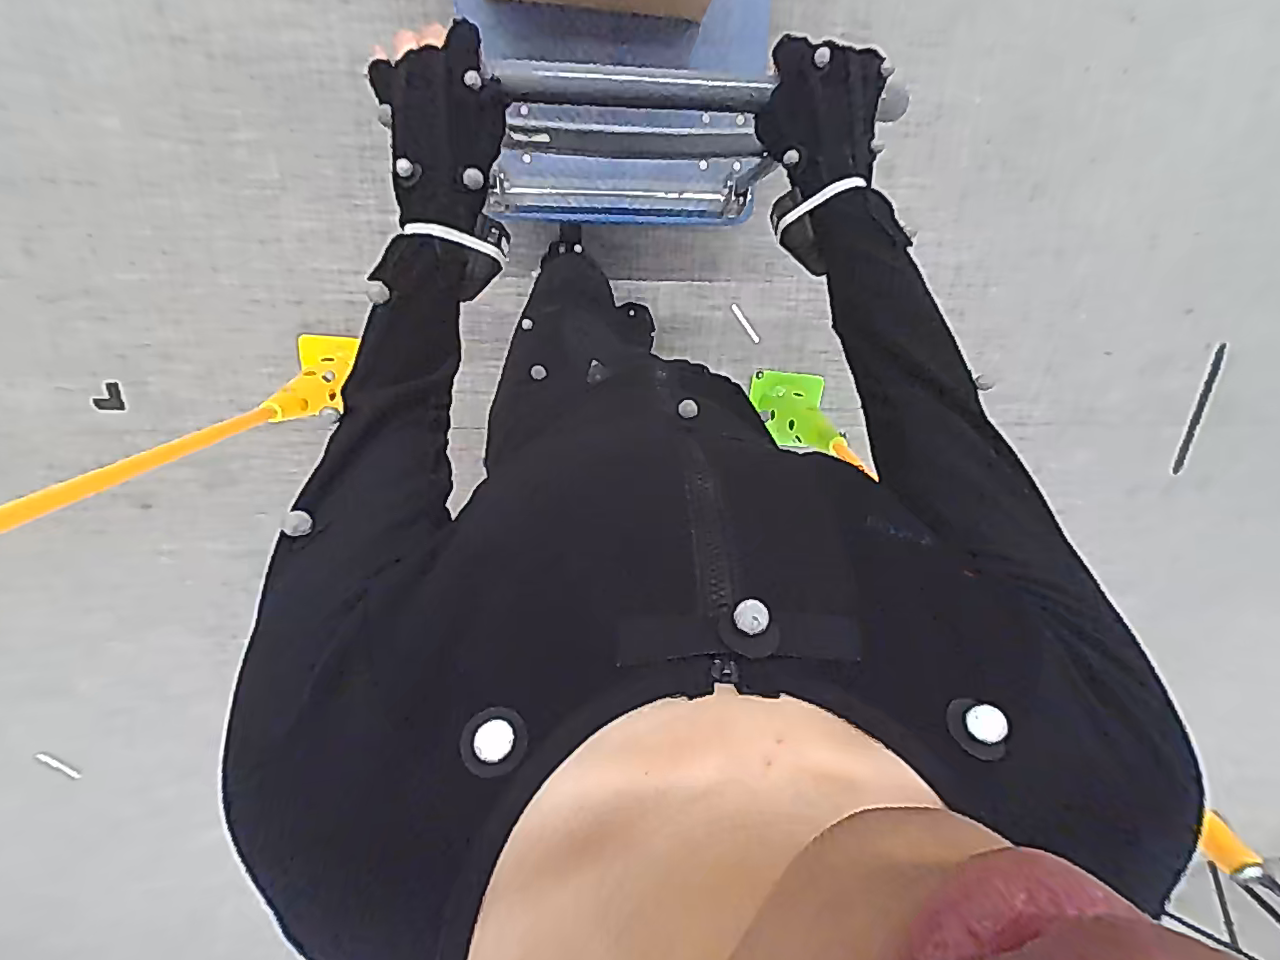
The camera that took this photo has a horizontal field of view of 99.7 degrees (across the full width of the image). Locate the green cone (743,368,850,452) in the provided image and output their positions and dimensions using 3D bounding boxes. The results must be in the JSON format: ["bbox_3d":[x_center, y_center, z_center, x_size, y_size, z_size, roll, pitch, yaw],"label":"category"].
[{"bbox_3d":[0.407,-0.139,1.321,0.202,0.368,0.200,3,111,-8],"label":"green cone"}]

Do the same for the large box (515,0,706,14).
[{"bbox_3d":[-0.065,-0.956,0.806,0.408,0.320,0.320,1,111,-5],"label":"large box"}]
